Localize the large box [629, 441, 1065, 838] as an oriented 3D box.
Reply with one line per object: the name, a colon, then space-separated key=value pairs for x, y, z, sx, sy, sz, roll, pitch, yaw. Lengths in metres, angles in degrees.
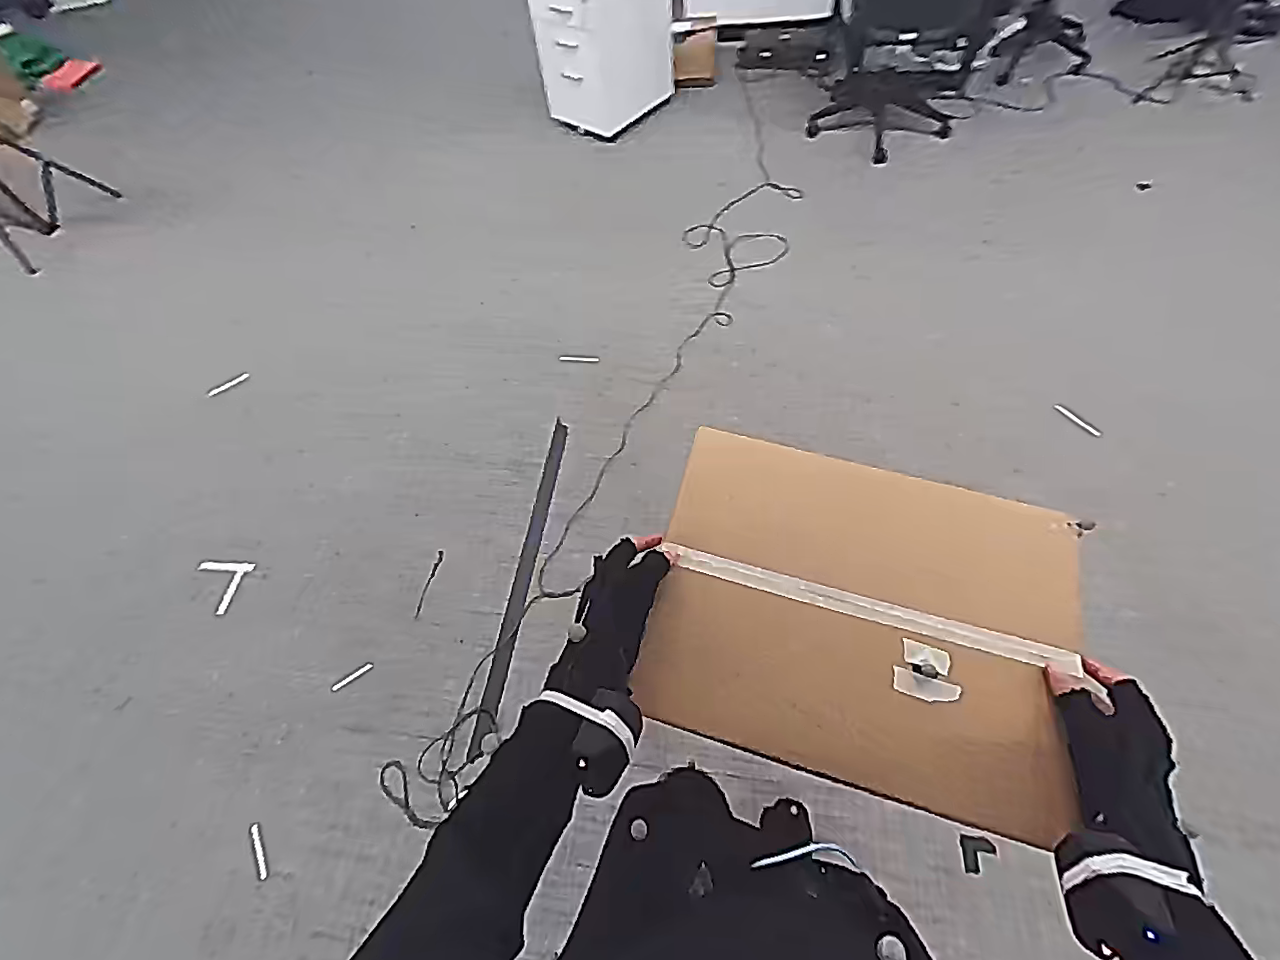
large box: x=0.223 y=0.191 z=0.687 sx=0.408 sy=0.320 sz=0.320 roll=14 pitch=69 yaw=9
